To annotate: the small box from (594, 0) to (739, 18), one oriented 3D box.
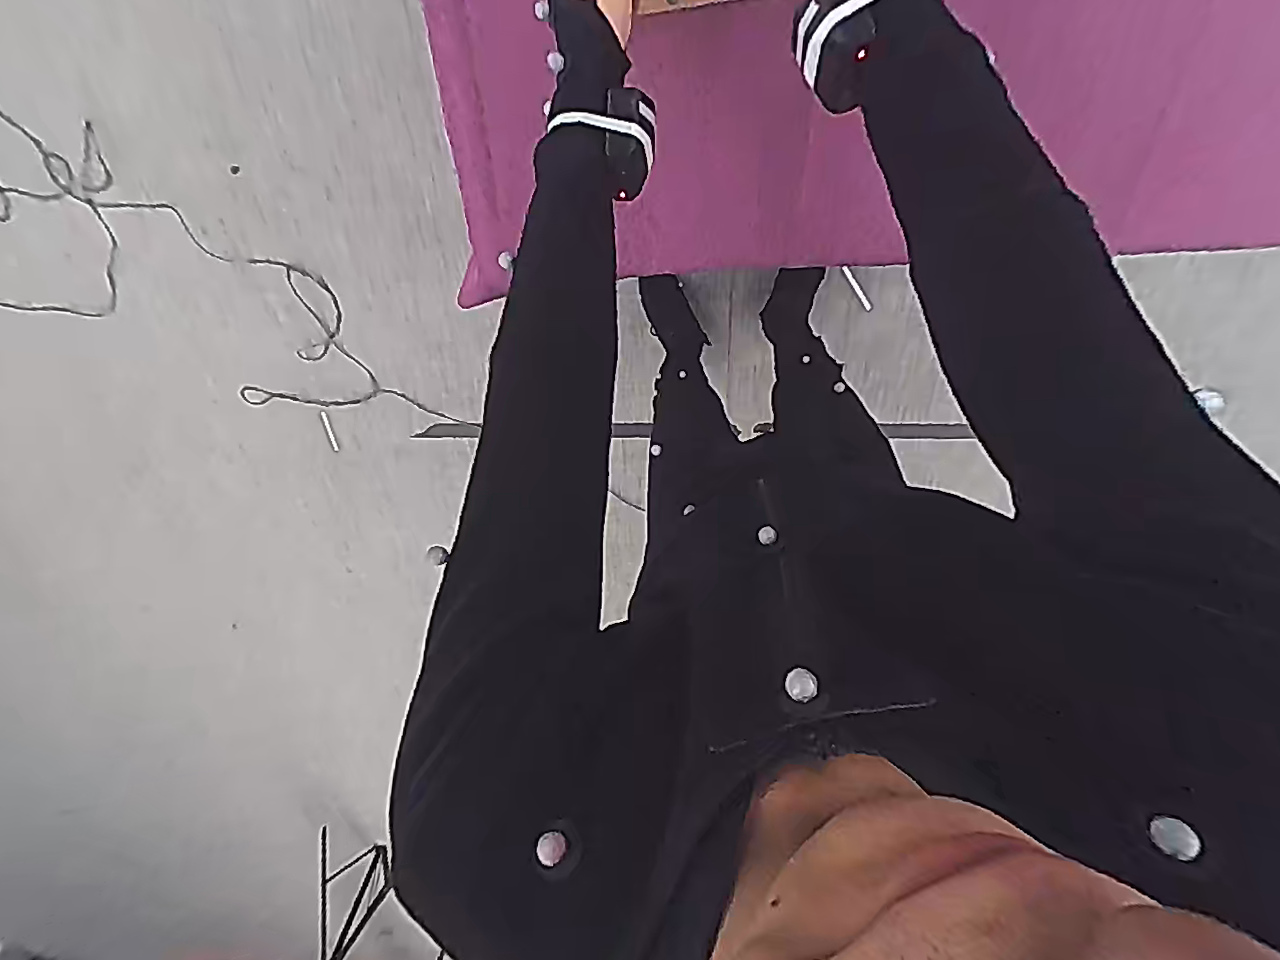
[{"bbox_3d":[0.029,-0.525,0.464,0.179,0.176,0.168,-4,122,6],"label":"small box"}]
